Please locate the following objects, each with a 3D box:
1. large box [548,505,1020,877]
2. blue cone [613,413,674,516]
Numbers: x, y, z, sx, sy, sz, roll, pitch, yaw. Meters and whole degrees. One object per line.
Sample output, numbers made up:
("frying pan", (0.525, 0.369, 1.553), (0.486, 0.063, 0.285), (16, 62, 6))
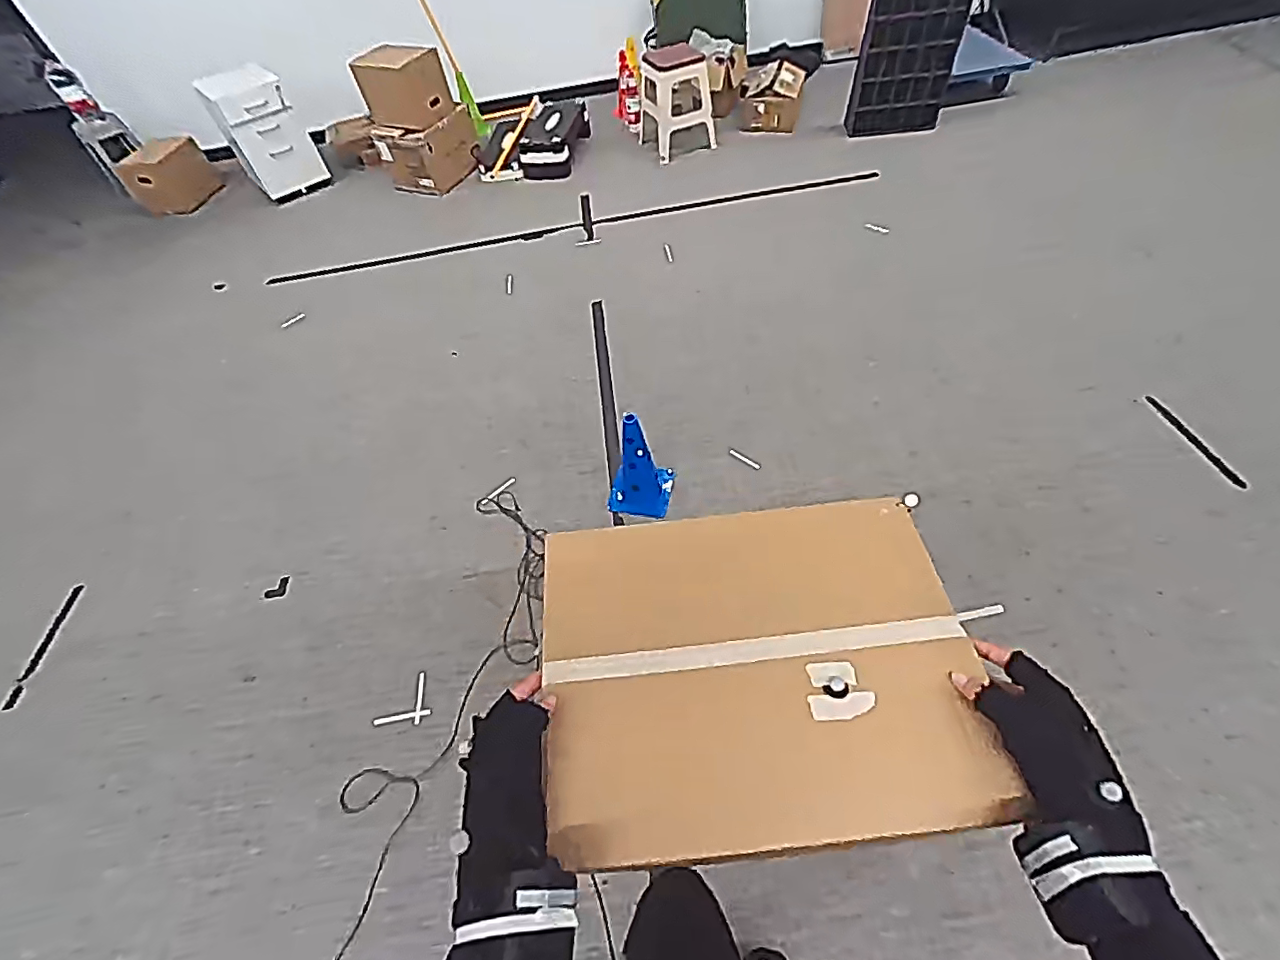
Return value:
("large box", (0.115, 0.262, 0.652), (0.408, 0.320, 0.320), (-6, 53, 0))
("blue cone", (-0.005, -0.061, 1.712), (0.193, 0.380, 0.192), (8, 54, 13))
